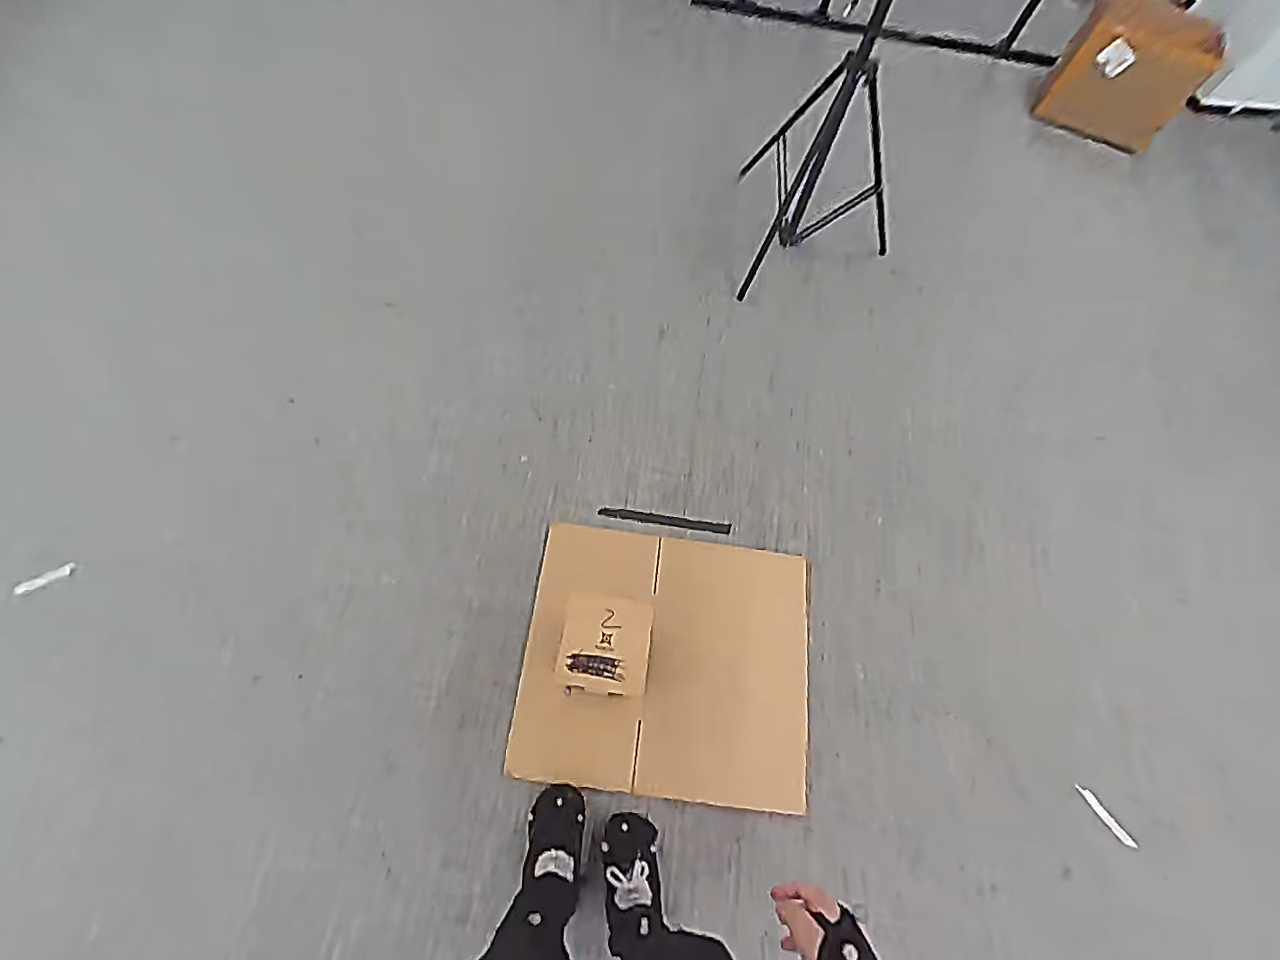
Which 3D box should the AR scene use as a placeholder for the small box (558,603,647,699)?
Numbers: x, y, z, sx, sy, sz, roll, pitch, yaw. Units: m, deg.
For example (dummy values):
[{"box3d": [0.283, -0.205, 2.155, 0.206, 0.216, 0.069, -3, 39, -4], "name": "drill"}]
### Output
[{"box3d": [-0.085, 0.400, 1.252, 0.168, 0.176, 0.179, 12, 66, -1], "name": "small box"}]
